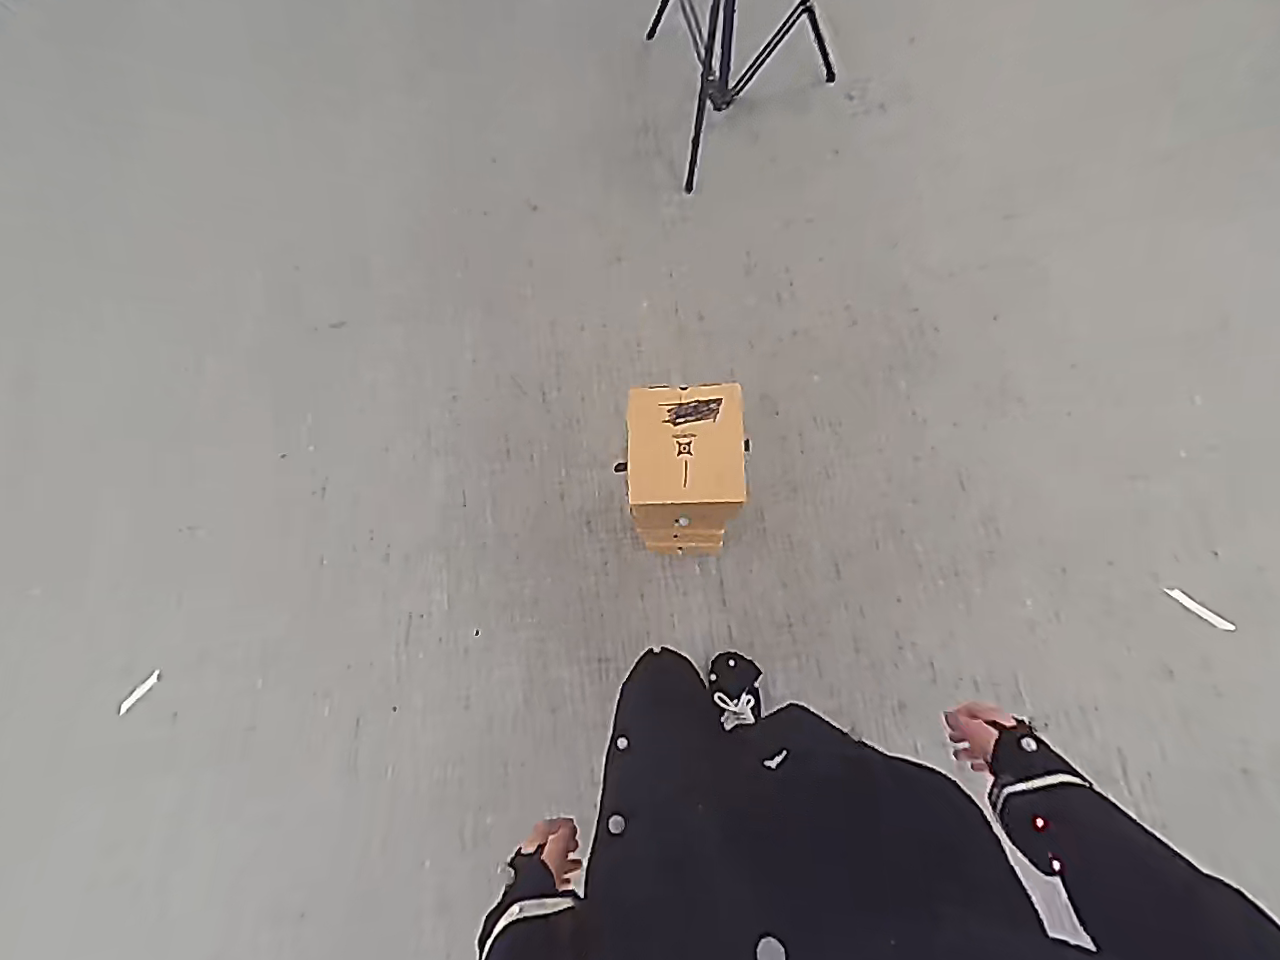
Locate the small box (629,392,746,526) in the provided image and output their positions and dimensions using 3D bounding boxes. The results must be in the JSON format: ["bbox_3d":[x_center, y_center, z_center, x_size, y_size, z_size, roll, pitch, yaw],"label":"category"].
[{"bbox_3d":[0.073,-0.026,0.847,0.168,0.176,0.179,-1,78,6],"label":"small box"}]

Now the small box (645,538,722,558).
[{"bbox_3d":[0.104,0.099,1.321,0.179,0.176,0.168,-1,77,5],"label":"small box"}]

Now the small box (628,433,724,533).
[{"bbox_3d":[0.074,0.009,1.008,0.179,0.176,0.168,-1,78,4],"label":"small box"}]

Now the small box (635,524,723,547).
[{"bbox_3d":[0.089,0.054,1.164,0.179,0.176,0.168,2,78,5],"label":"small box"}]
